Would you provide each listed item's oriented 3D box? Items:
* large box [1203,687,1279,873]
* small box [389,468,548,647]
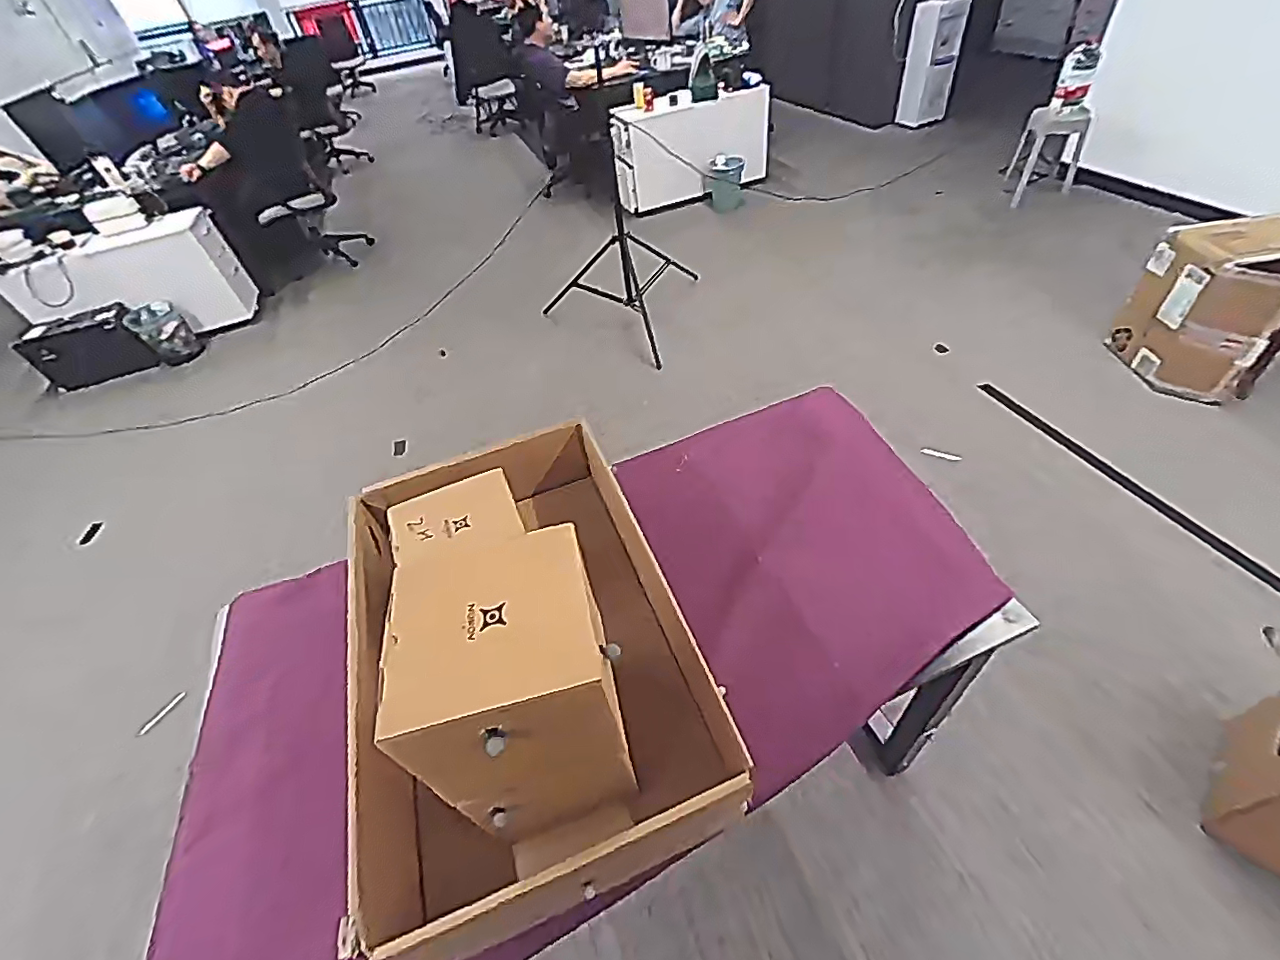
[{"bbox_3d":[1.432,0.637,1.016,0.408,0.320,0.320,29,57,33],"label":"large box"},{"bbox_3d":[-0.247,0.116,0.808,0.179,0.176,0.168,-21,48,-13],"label":"small box"}]
